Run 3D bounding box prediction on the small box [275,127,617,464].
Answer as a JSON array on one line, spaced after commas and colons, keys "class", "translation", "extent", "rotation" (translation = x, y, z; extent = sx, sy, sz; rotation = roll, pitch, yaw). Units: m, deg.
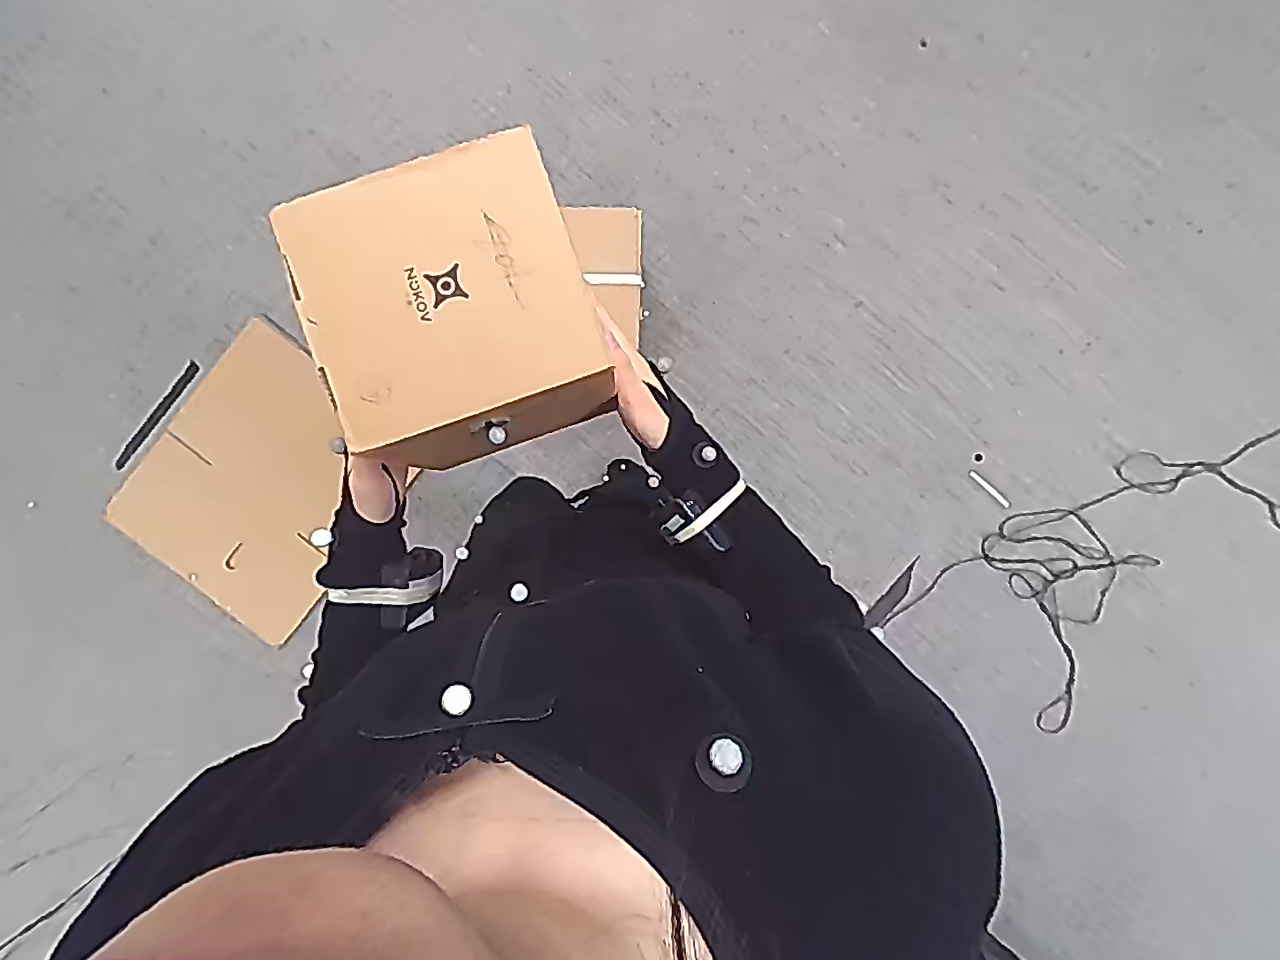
[{"class": "small box", "translation": [-0.124, -0.117, 0.418], "extent": [0.179, 0.176, 0.168], "rotation": [-20, 89, -2]}]
